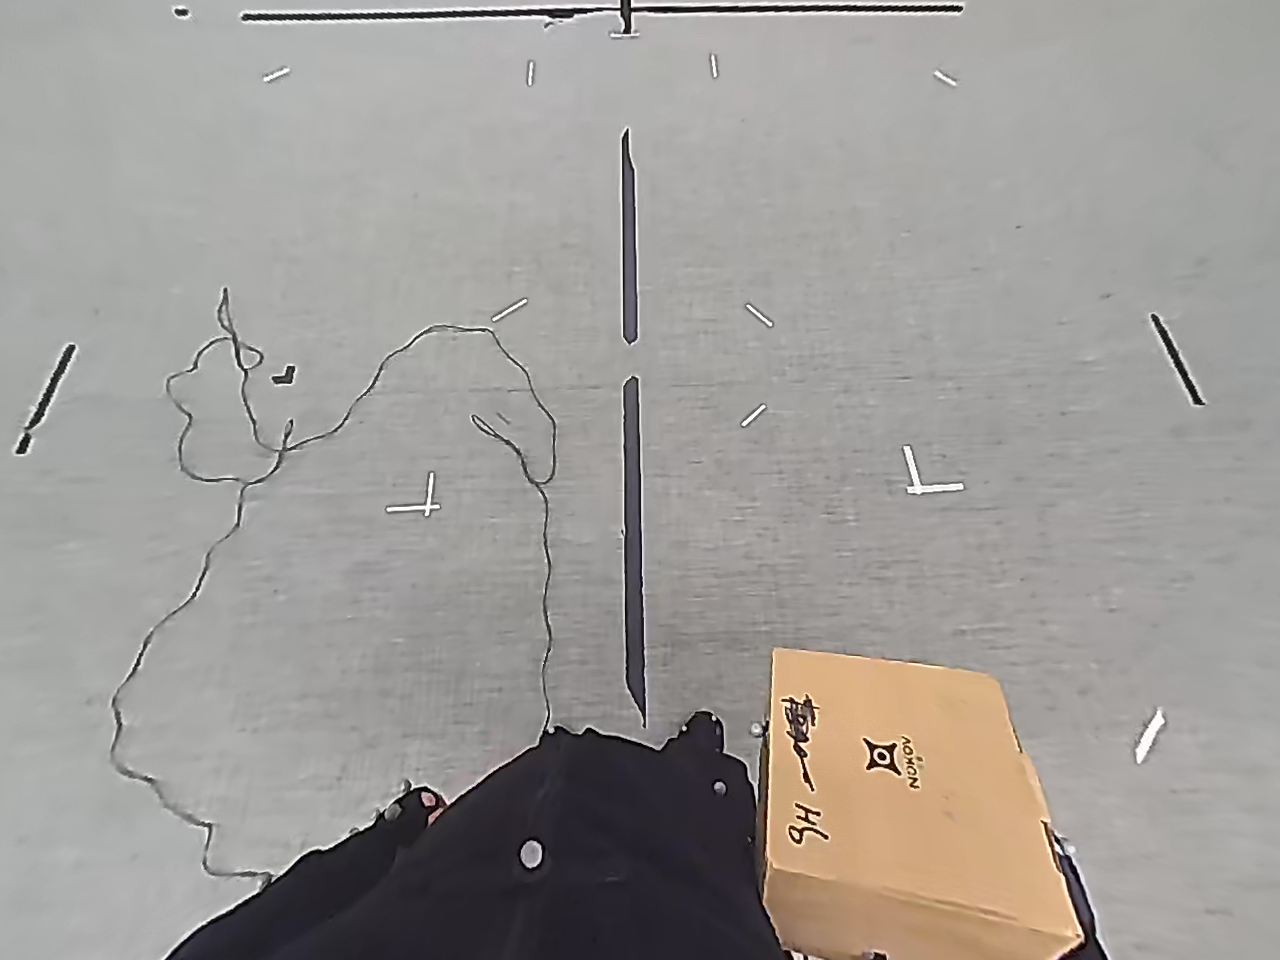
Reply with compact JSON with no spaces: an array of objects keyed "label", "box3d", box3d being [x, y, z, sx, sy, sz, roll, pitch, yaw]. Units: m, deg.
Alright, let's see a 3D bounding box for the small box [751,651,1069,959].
[{"label":"small box","box3d":[0.191,0.271,0.442,0.179,0.176,0.168,5,37,13]}]
